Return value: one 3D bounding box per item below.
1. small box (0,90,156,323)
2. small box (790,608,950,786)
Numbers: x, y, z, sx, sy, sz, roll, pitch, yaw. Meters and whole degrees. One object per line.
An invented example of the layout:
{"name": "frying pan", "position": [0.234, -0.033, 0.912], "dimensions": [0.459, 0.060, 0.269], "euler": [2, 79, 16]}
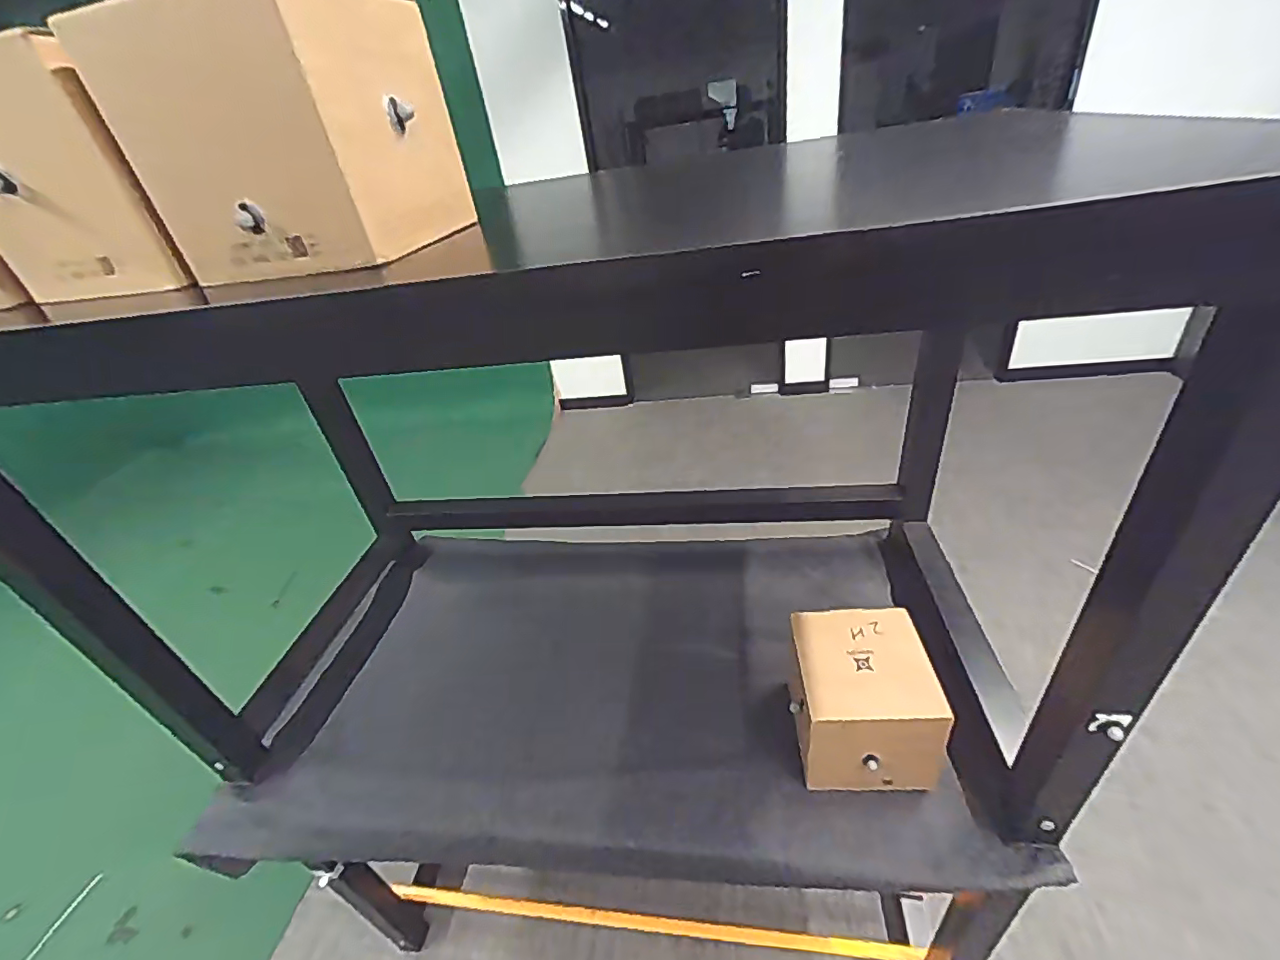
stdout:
{"name": "small box", "position": [-0.624, -0.255, 0.513], "dimensions": [0.168, 0.176, 0.179], "euler": [-3, 35, 9]}
{"name": "small box", "position": [0.308, 0.306, 0.763], "dimensions": [0.168, 0.176, 0.179], "euler": [-4, 34, 8]}
